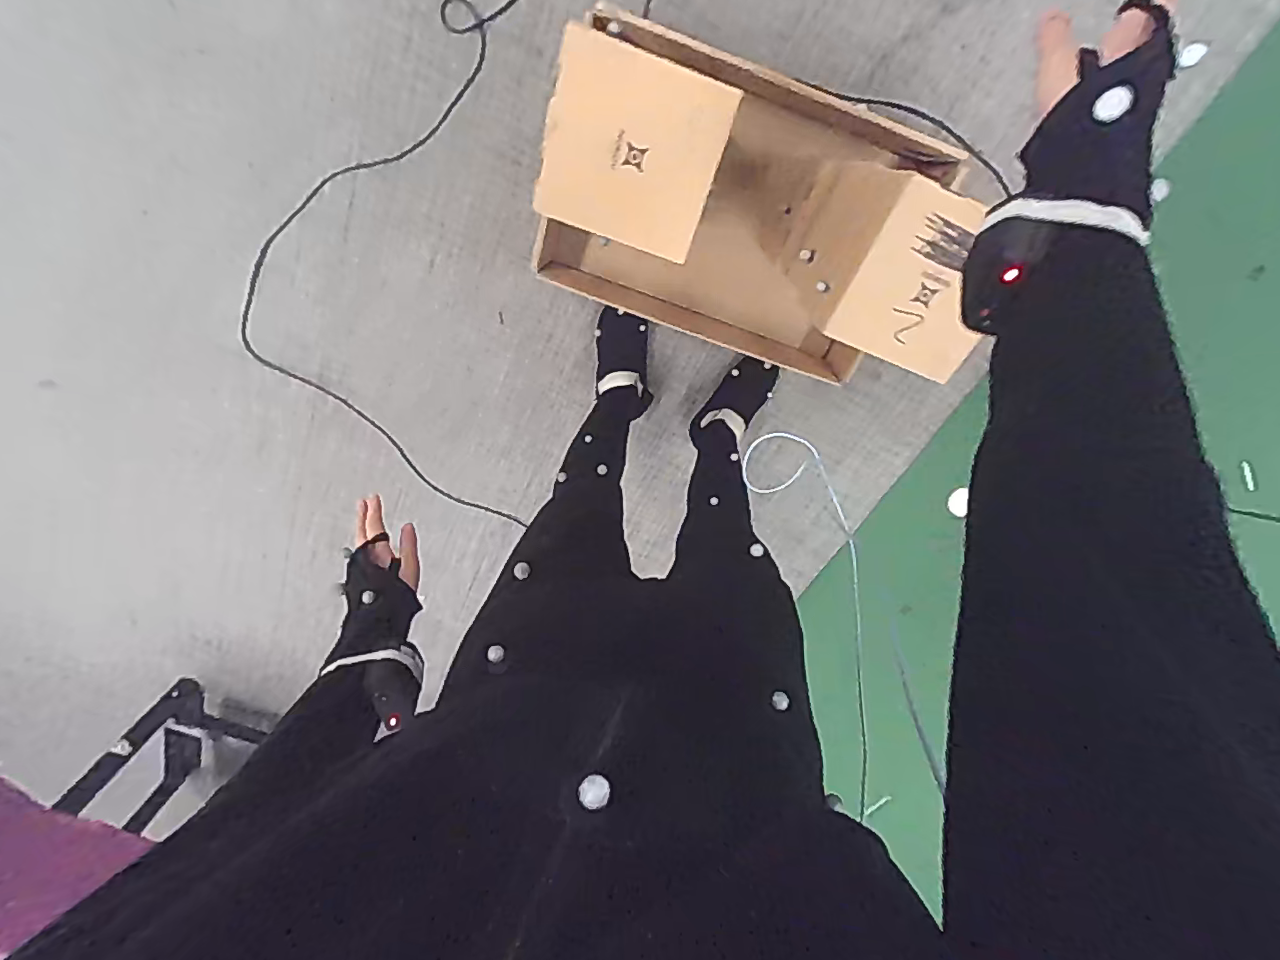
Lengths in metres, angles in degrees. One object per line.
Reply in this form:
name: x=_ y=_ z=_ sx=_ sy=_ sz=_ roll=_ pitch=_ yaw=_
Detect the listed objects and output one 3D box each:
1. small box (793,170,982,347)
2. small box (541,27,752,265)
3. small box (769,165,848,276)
small box: x=0.343 y=-0.328 z=0.795 sx=0.168 sy=0.176 sz=0.179 roll=22 pitch=119 yaw=-9
small box: x=0.007 y=-0.370 z=0.613 sx=0.179 sy=0.176 sz=0.168 roll=19 pitch=122 yaw=-5
small box: x=0.341 y=-0.417 z=0.934 sx=0.179 sy=0.176 sz=0.168 roll=23 pitch=119 yaw=-8
